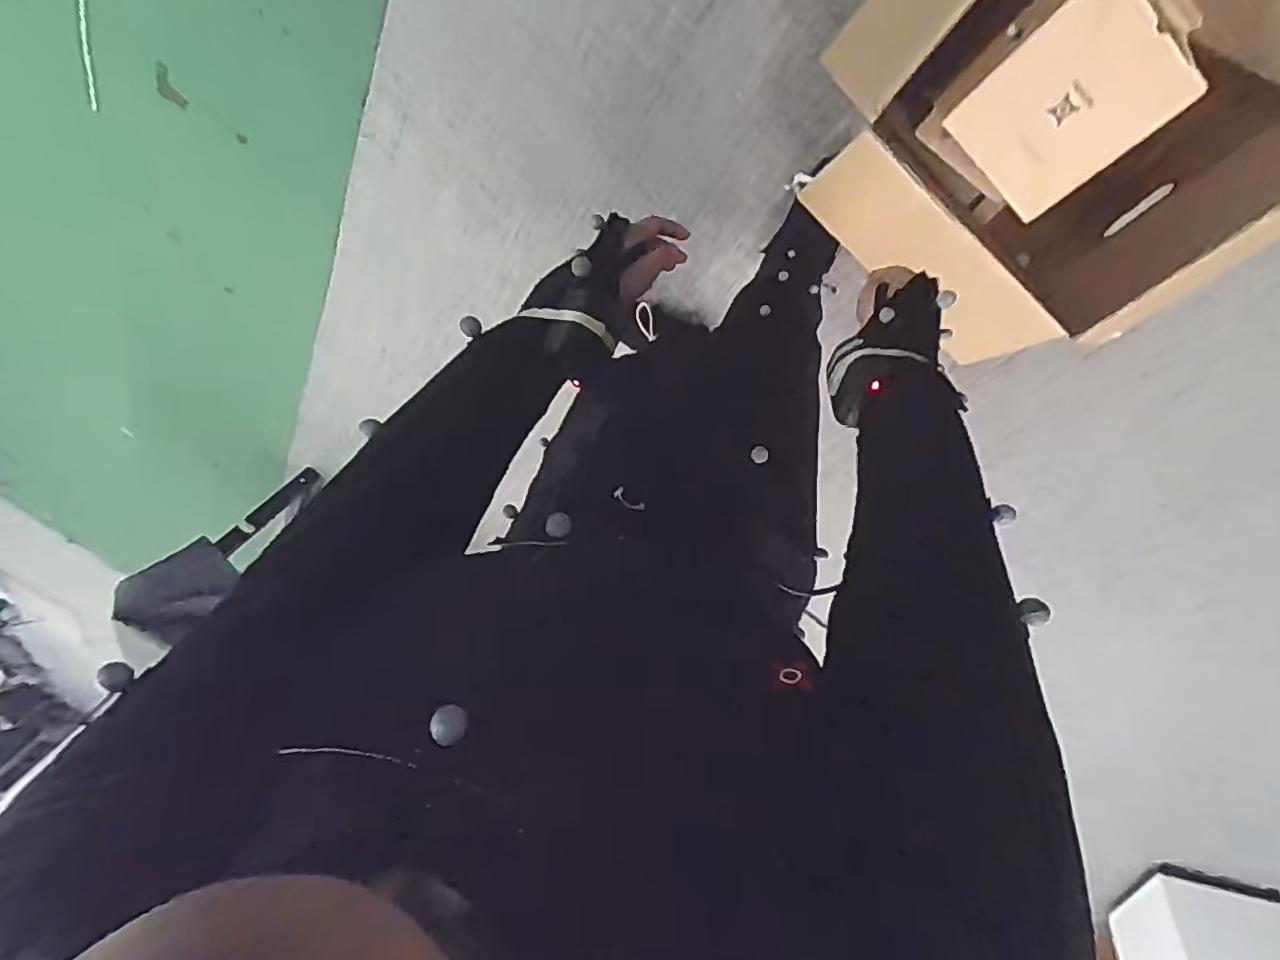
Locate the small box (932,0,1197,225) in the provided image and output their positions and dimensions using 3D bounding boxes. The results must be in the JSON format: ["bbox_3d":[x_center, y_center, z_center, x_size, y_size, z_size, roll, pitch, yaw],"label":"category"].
[{"bbox_3d":[0.475,-0.449,0.636,0.168,0.176,0.179,38,134,-15],"label":"small box"}]
